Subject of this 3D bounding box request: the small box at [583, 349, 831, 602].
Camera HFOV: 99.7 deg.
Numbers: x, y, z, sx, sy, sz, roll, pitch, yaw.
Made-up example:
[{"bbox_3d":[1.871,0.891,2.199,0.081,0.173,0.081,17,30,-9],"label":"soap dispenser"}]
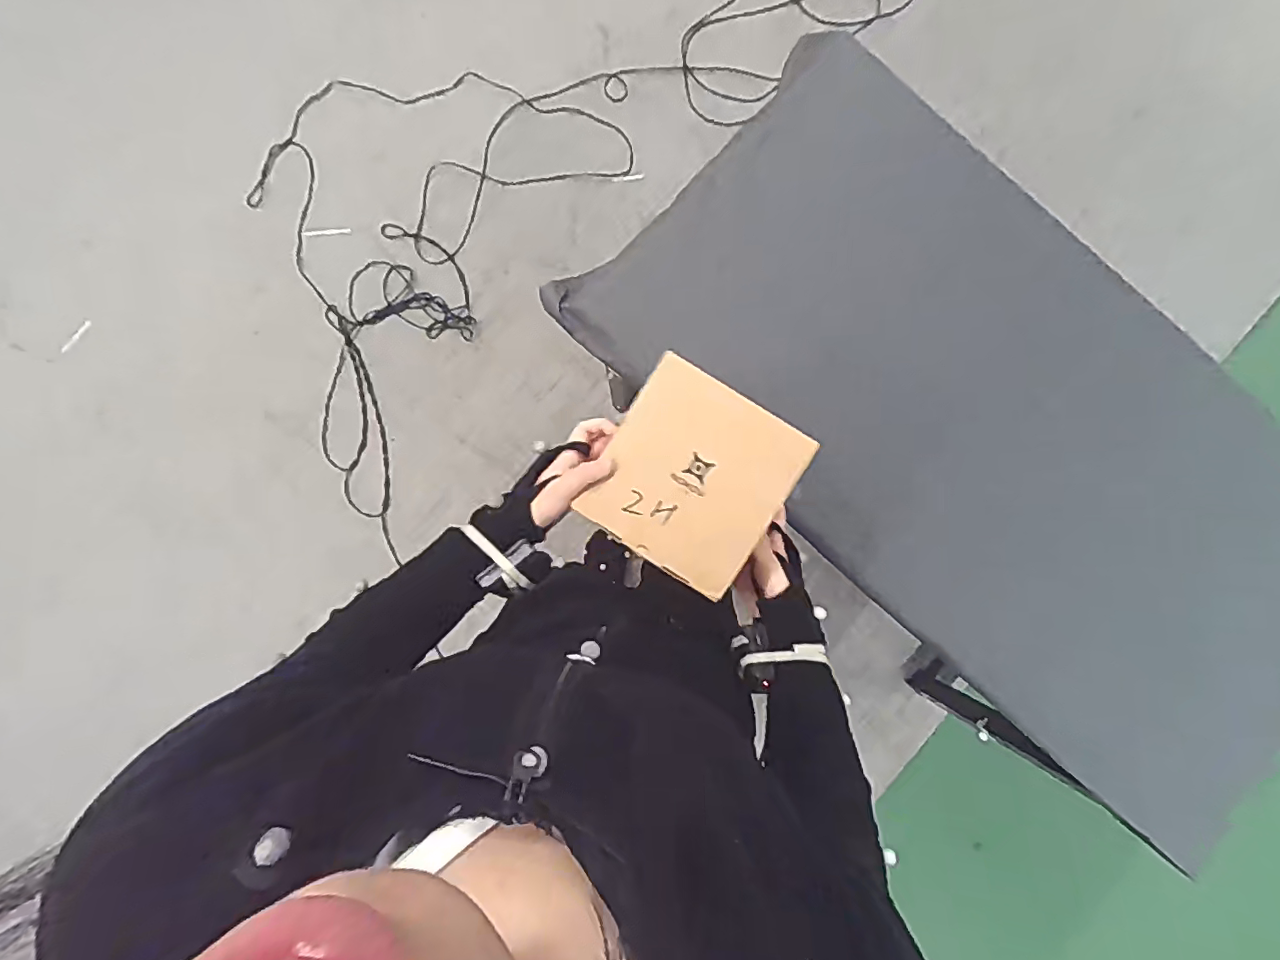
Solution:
[{"bbox_3d":[0.061,-0.002,0.568,0.168,0.176,0.179,34,88,3],"label":"small box"}]
